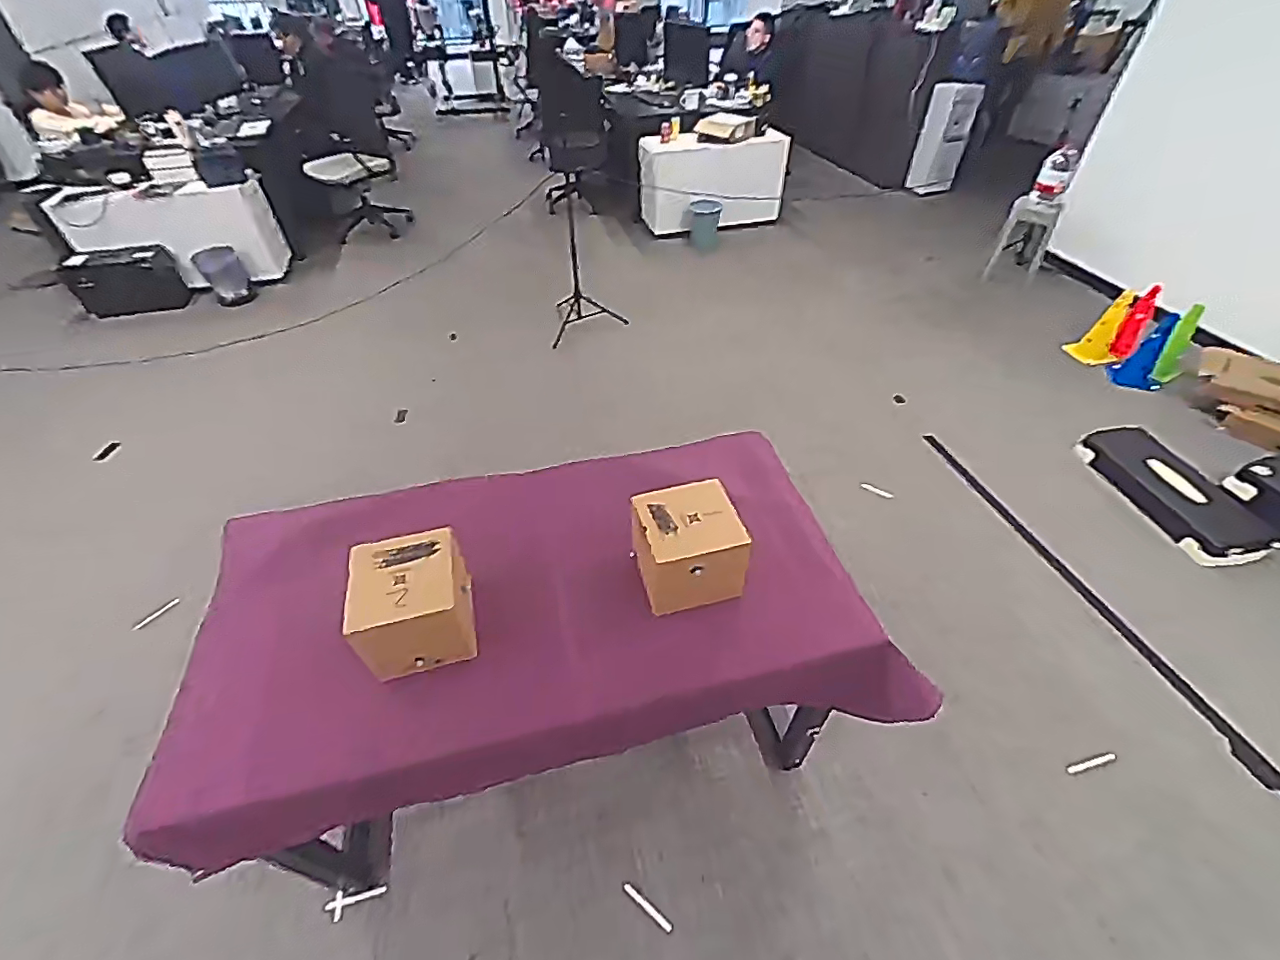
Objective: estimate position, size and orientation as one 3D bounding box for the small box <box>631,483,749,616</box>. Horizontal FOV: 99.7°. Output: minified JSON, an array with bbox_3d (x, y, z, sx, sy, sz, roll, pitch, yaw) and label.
[{"bbox_3d":[0.087,0.134,1.023,0.179,0.176,0.168,-11,45,-11],"label":"small box"}]
